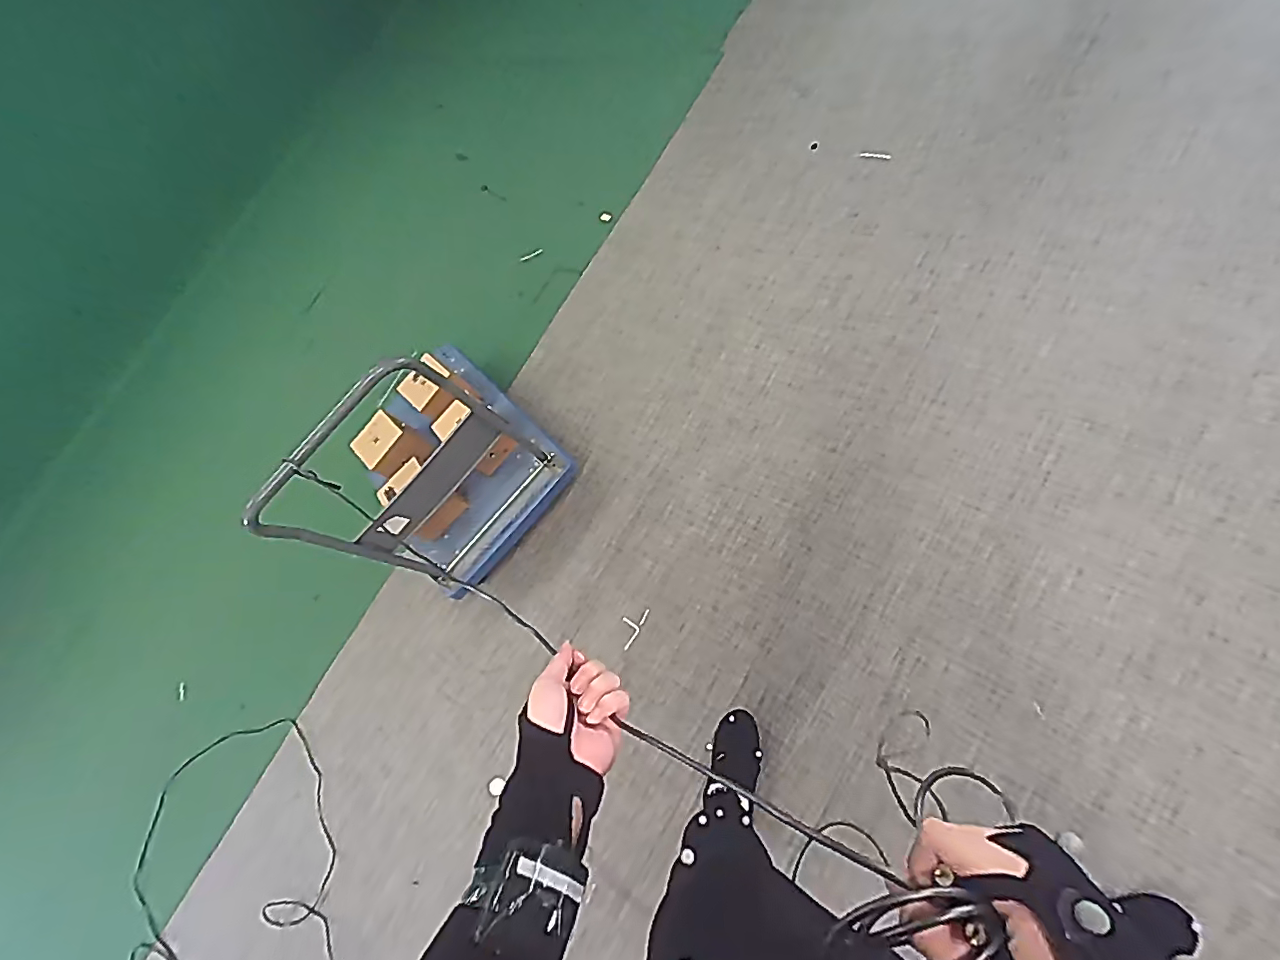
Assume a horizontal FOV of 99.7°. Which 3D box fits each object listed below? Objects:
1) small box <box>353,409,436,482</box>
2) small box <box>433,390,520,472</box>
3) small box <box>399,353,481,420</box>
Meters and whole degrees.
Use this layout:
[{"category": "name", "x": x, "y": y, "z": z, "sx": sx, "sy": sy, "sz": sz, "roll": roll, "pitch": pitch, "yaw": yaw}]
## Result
[{"category": "small box", "x": -0.855, "y": -0.113, "z": 1.892, "sx": 0.179, "sy": 0.176, "sz": 0.168, "roll": 38, "pitch": 88, "yaw": 32}, {"category": "small box", "x": -0.527, "y": -0.153, "z": 1.758, "sx": 0.168, "sy": 0.176, "sz": 0.179, "roll": -47, "pitch": 59, "yaw": 1}, {"category": "small box", "x": -0.698, "y": -0.309, "z": 1.898, "sx": 0.179, "sy": 0.176, "sz": 0.168, "roll": 38, "pitch": 89, "yaw": 31}]
